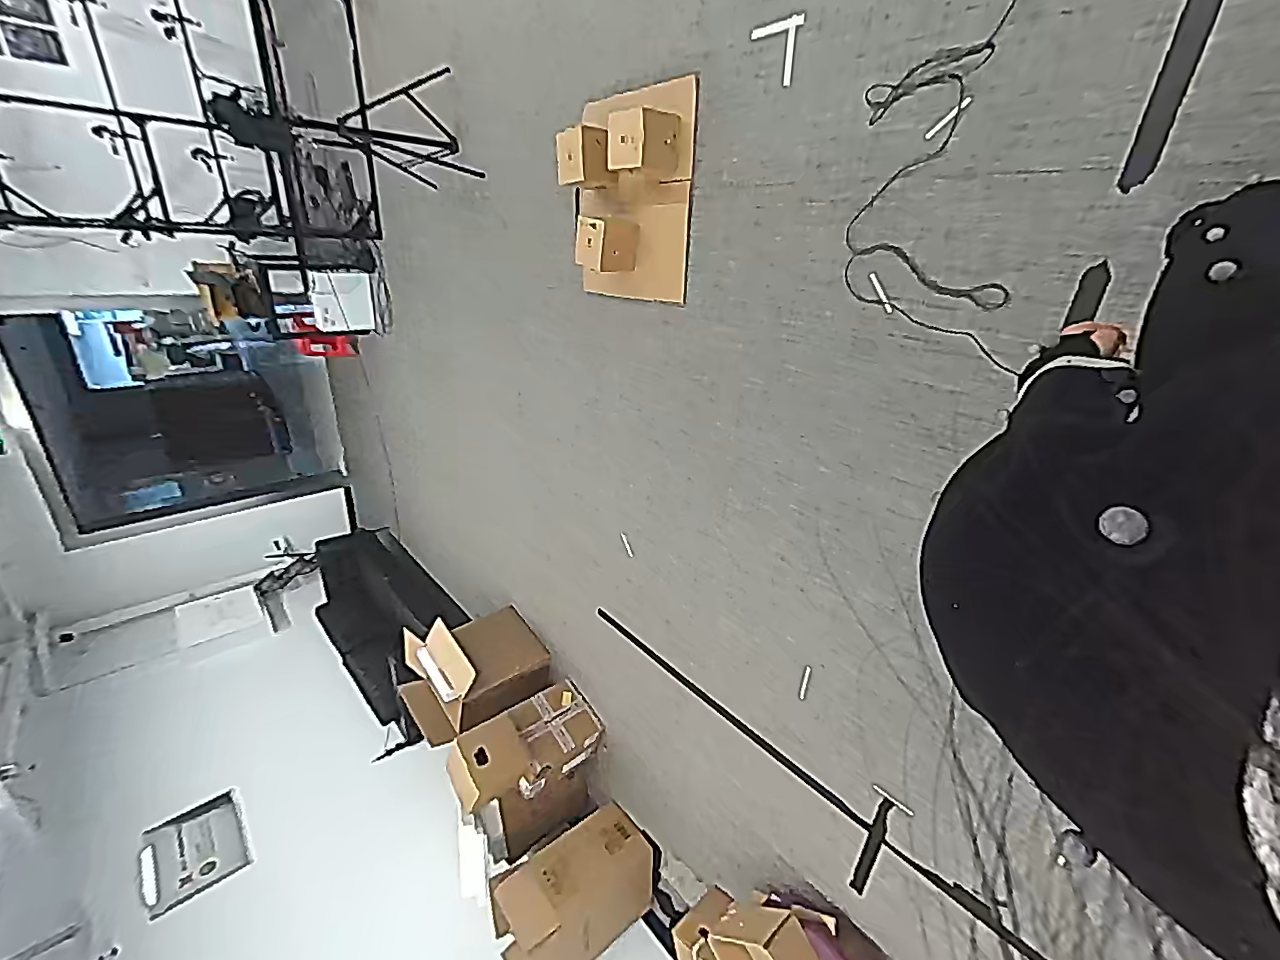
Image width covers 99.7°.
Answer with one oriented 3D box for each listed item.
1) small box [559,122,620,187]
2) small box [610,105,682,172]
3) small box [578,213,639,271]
[{"bbox_3d":[-0.186,-1.218,2.034,0.168,0.176,0.179,21,119,46],"label":"small box"},{"bbox_3d":[0.019,-1.140,1.817,0.179,0.176,0.168,25,123,41],"label":"small box"},{"bbox_3d":[-0.119,-0.911,2.067,0.168,0.176,0.179,35,130,37],"label":"small box"}]
